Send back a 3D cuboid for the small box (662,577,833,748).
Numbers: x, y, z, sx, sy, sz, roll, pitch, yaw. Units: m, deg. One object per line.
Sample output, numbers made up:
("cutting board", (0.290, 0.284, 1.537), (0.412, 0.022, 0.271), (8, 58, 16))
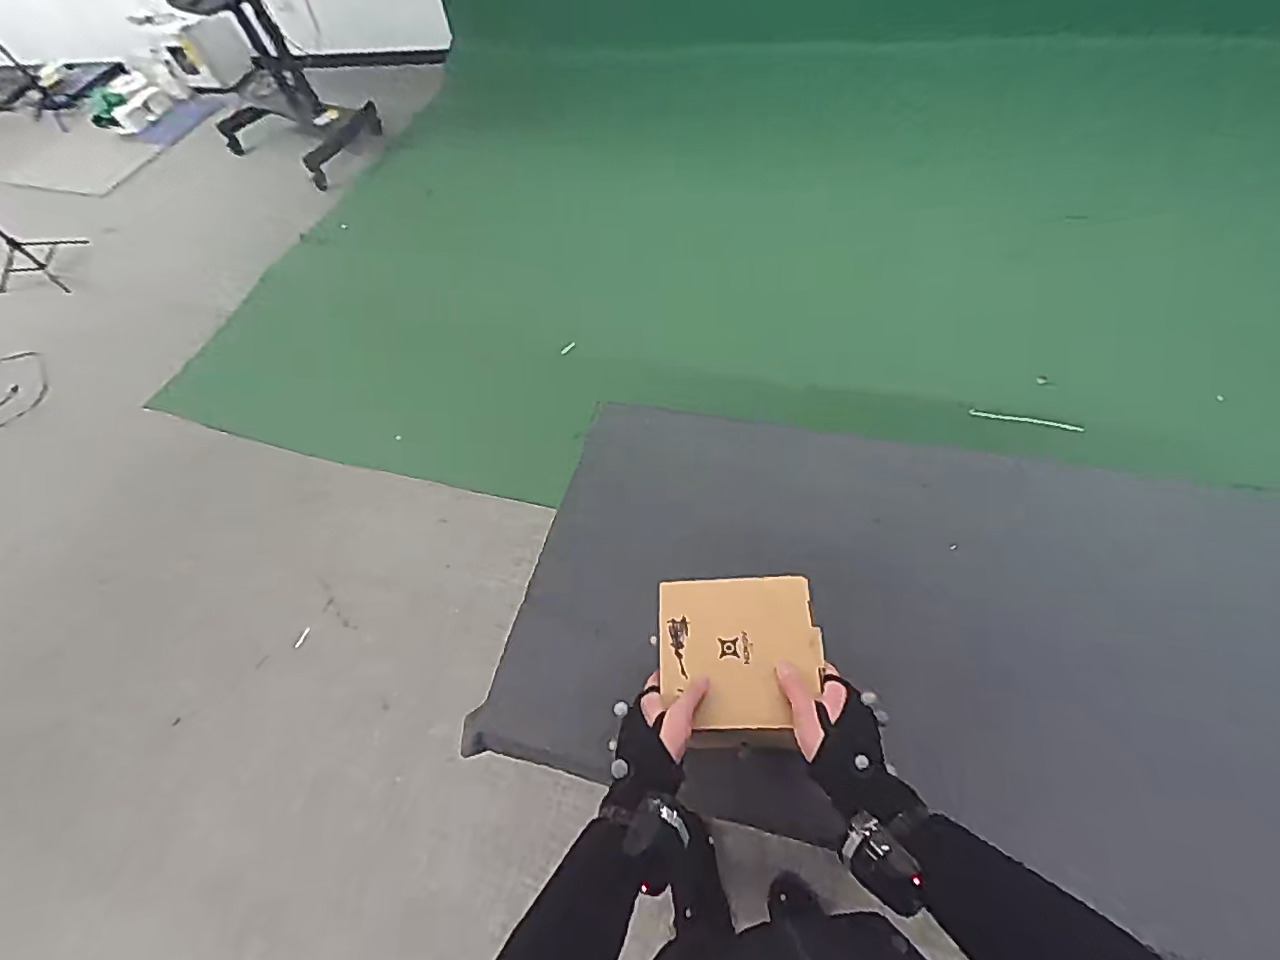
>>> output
("small box", (0.121, 0.226, 0.660), (0.179, 0.176, 0.168), (-2, 58, 7))
